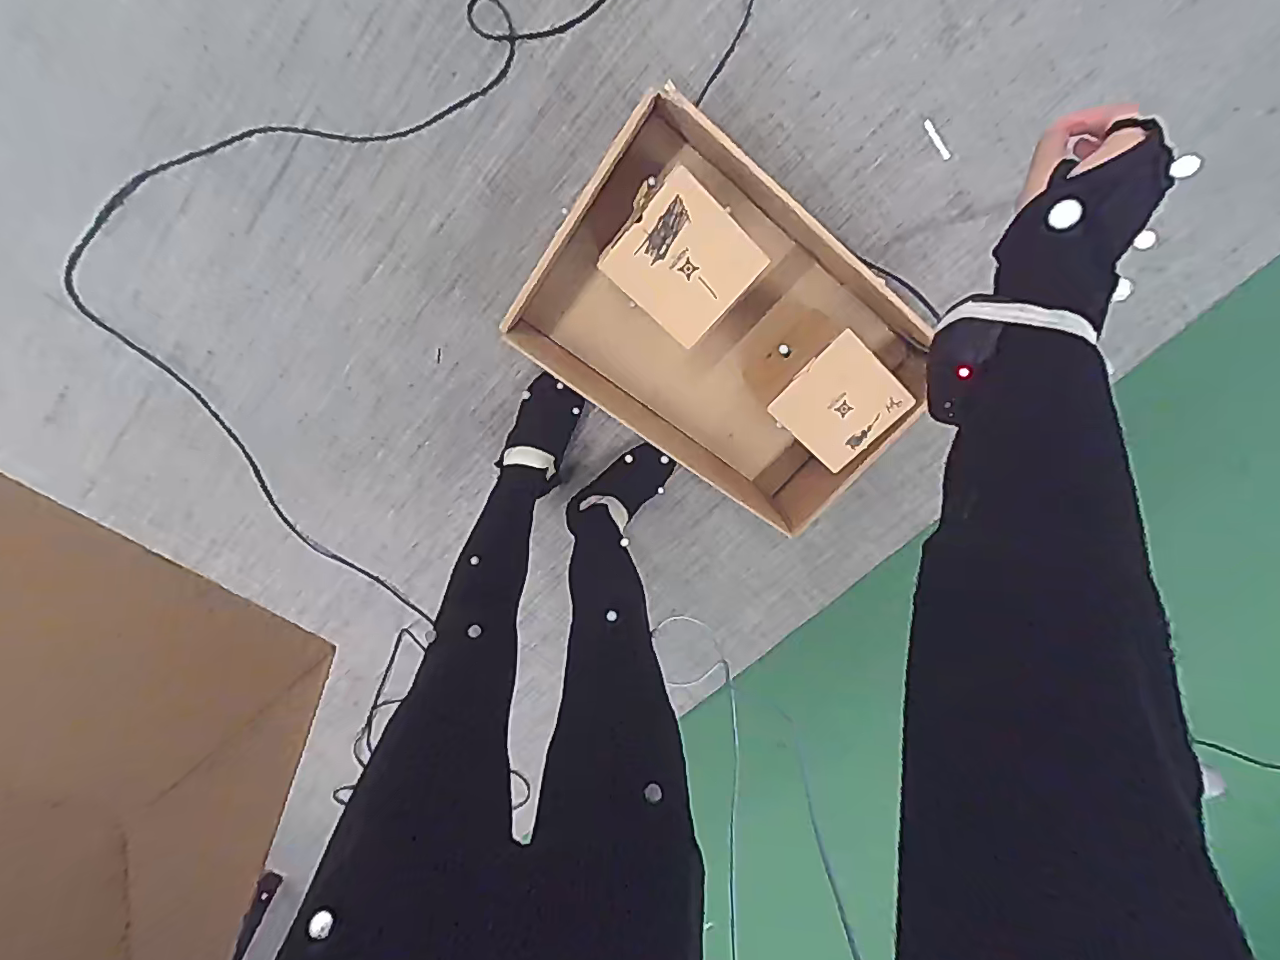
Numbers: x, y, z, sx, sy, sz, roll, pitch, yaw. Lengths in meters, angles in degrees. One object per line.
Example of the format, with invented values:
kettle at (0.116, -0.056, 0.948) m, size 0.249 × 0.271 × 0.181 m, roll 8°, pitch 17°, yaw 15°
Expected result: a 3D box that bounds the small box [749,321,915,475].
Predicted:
small box at (0.306, -0.145, 0.901) m, size 0.179 × 0.176 × 0.168 m, roll 40°, pitch 109°, yaw -18°
